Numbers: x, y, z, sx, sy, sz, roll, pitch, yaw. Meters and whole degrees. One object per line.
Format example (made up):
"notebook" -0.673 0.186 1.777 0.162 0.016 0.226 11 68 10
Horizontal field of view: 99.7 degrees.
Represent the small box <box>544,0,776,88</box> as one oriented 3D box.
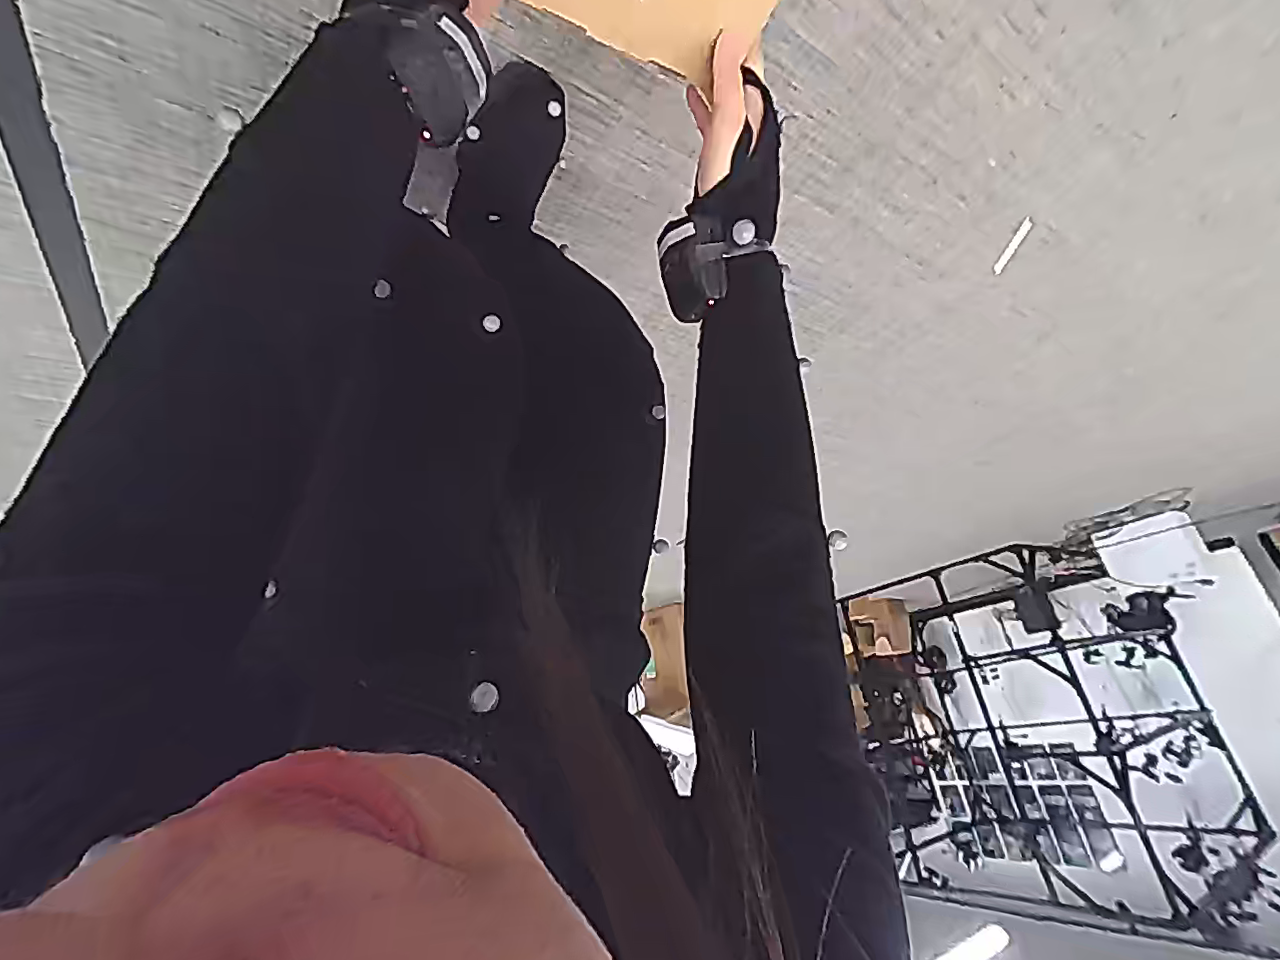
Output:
"small box" 0.013 -0.382 0.296 0.168 0.176 0.179 4 154 -28
